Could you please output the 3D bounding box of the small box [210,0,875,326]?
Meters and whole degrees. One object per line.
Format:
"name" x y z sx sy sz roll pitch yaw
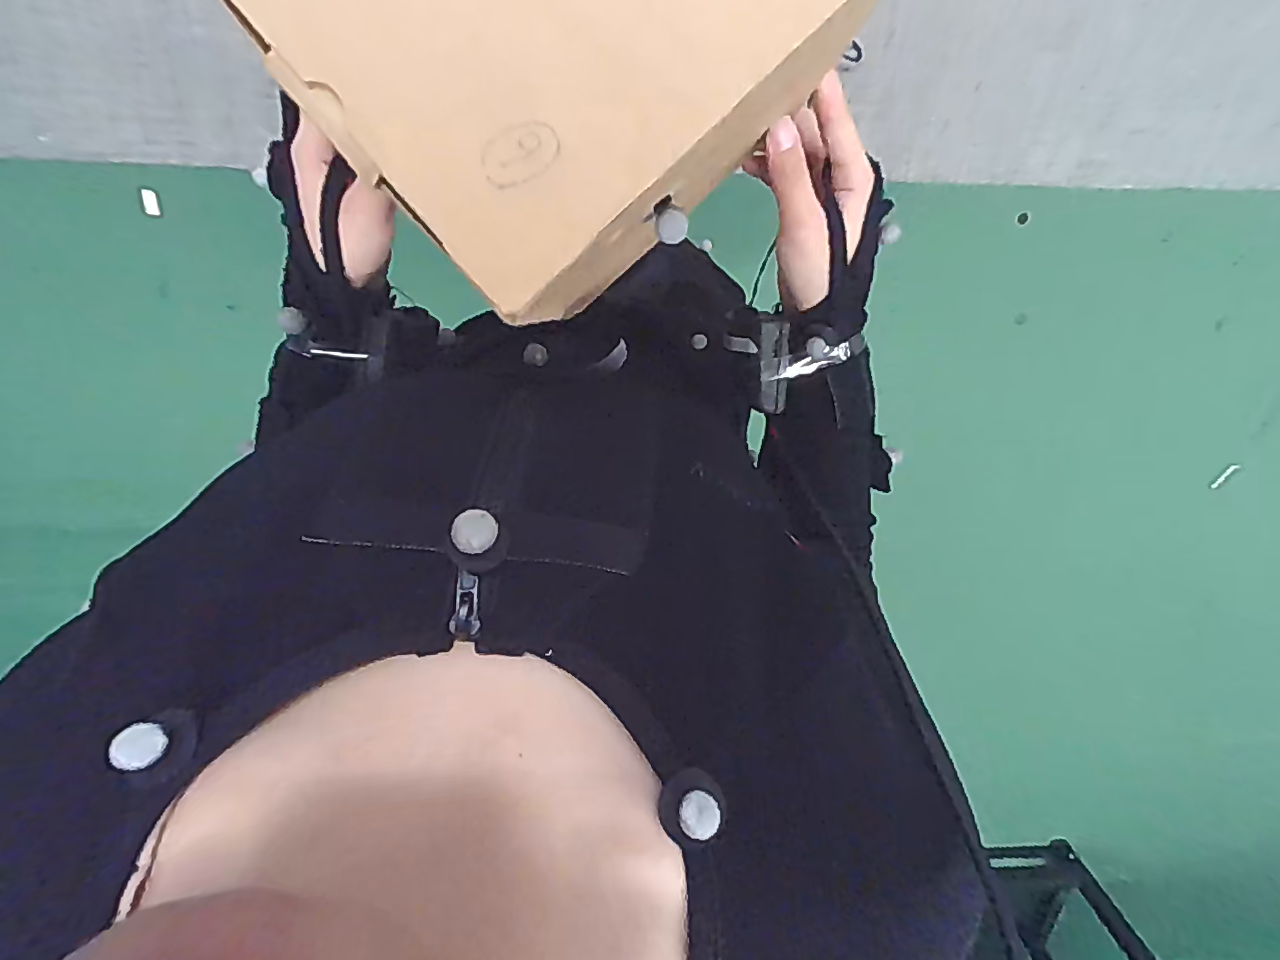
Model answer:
"small box" -0.031 -0.185 0.231 0.179 0.176 0.168 -39 102 12
